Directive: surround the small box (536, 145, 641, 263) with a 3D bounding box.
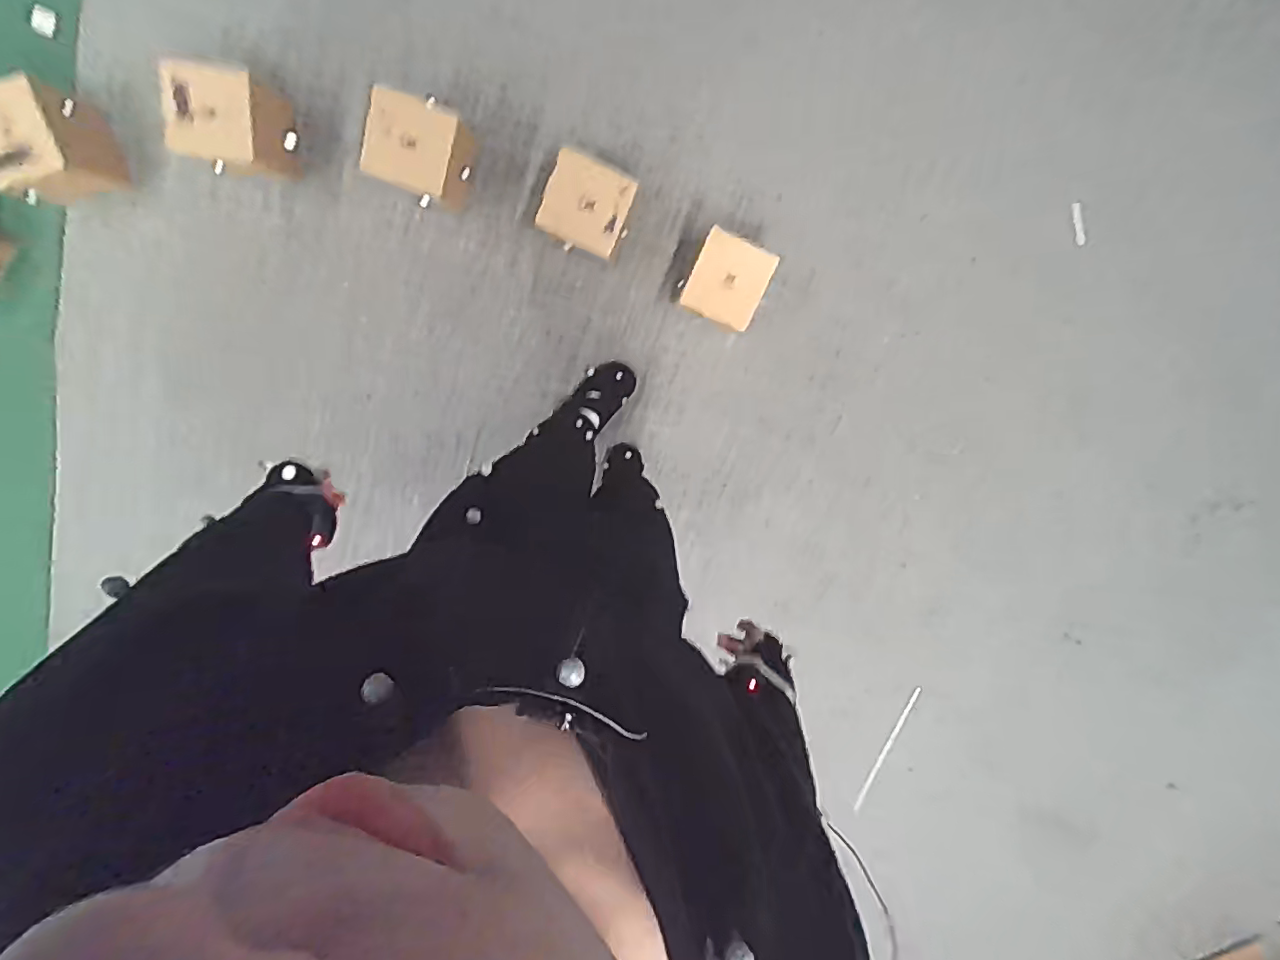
[{"bbox_3d":[-0.110,-0.606,1.216,0.179,0.176,0.168,24,104,-7],"label":"small box"}]

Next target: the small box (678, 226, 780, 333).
[{"bbox_3d":[0.196,-0.459,1.262,0.168,0.176,0.179,23,104,-7],"label":"small box"}]

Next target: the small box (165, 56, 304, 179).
[{"bbox_3d":[-0.861,-0.766,1.162,0.179,0.176,0.168,7,105,-3],"label":"small box"}]

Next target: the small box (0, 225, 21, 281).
[{"bbox_3d":[-1.594,-0.548,1.216,0.179,0.176,0.168,42,101,-11],"label":"small box"}]

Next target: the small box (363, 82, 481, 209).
[{"bbox_3d":[-0.466,-0.715,1.181,0.179,0.176,0.168,19,104,-6],"label":"small box"}]
